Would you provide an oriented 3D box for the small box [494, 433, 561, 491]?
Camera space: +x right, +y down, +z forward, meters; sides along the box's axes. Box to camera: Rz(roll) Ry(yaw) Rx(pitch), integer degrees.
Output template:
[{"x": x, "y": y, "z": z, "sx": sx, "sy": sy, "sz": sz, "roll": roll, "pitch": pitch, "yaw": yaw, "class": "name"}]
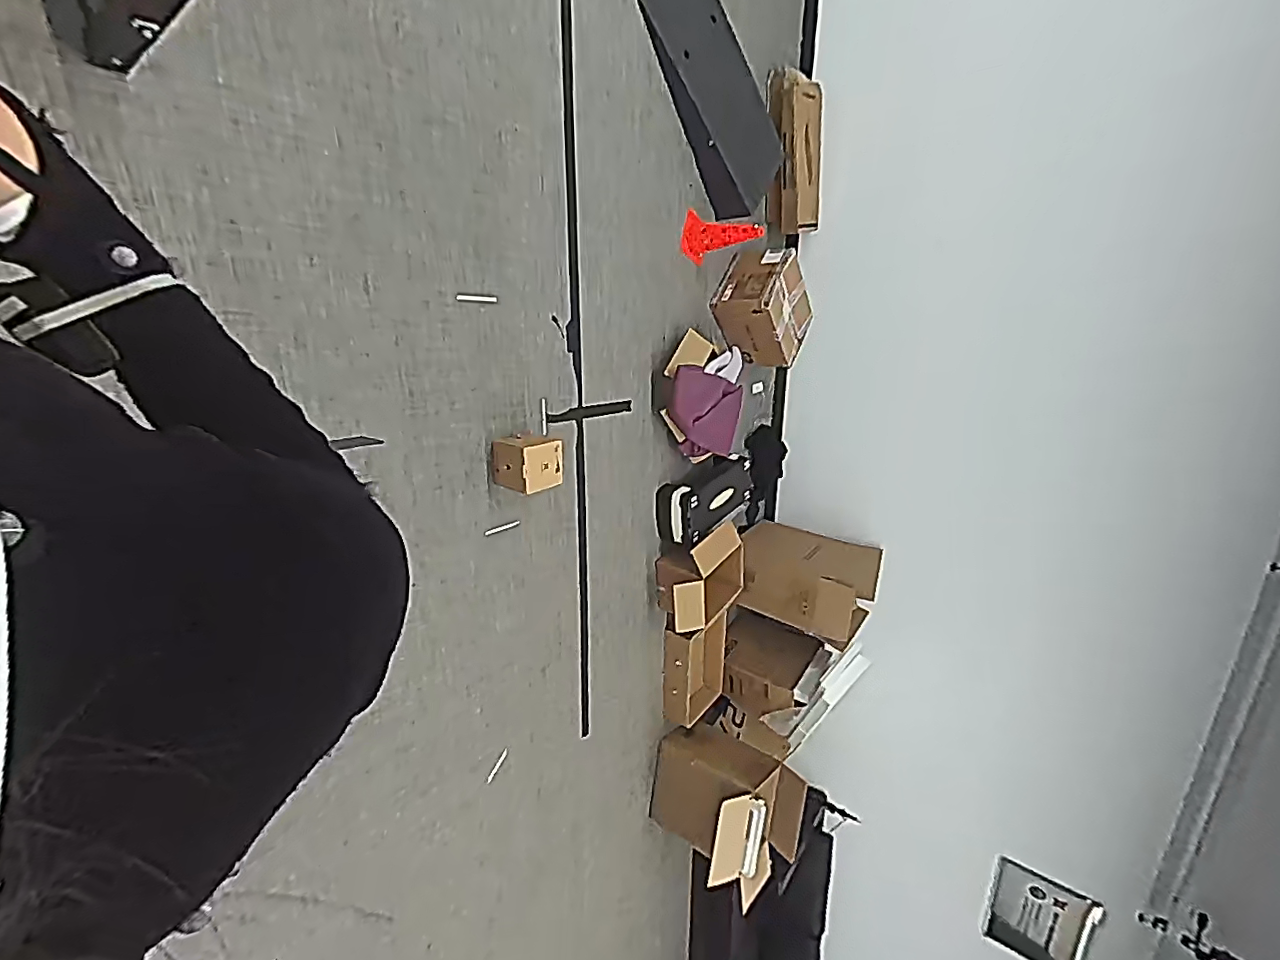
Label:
[{"x": -0.402, "y": -0.068, "z": 1.913, "sx": 0.179, "sy": 0.176, "sz": 0.168, "roll": -19, "pitch": 115, "yaw": -49, "class": "small box"}]
